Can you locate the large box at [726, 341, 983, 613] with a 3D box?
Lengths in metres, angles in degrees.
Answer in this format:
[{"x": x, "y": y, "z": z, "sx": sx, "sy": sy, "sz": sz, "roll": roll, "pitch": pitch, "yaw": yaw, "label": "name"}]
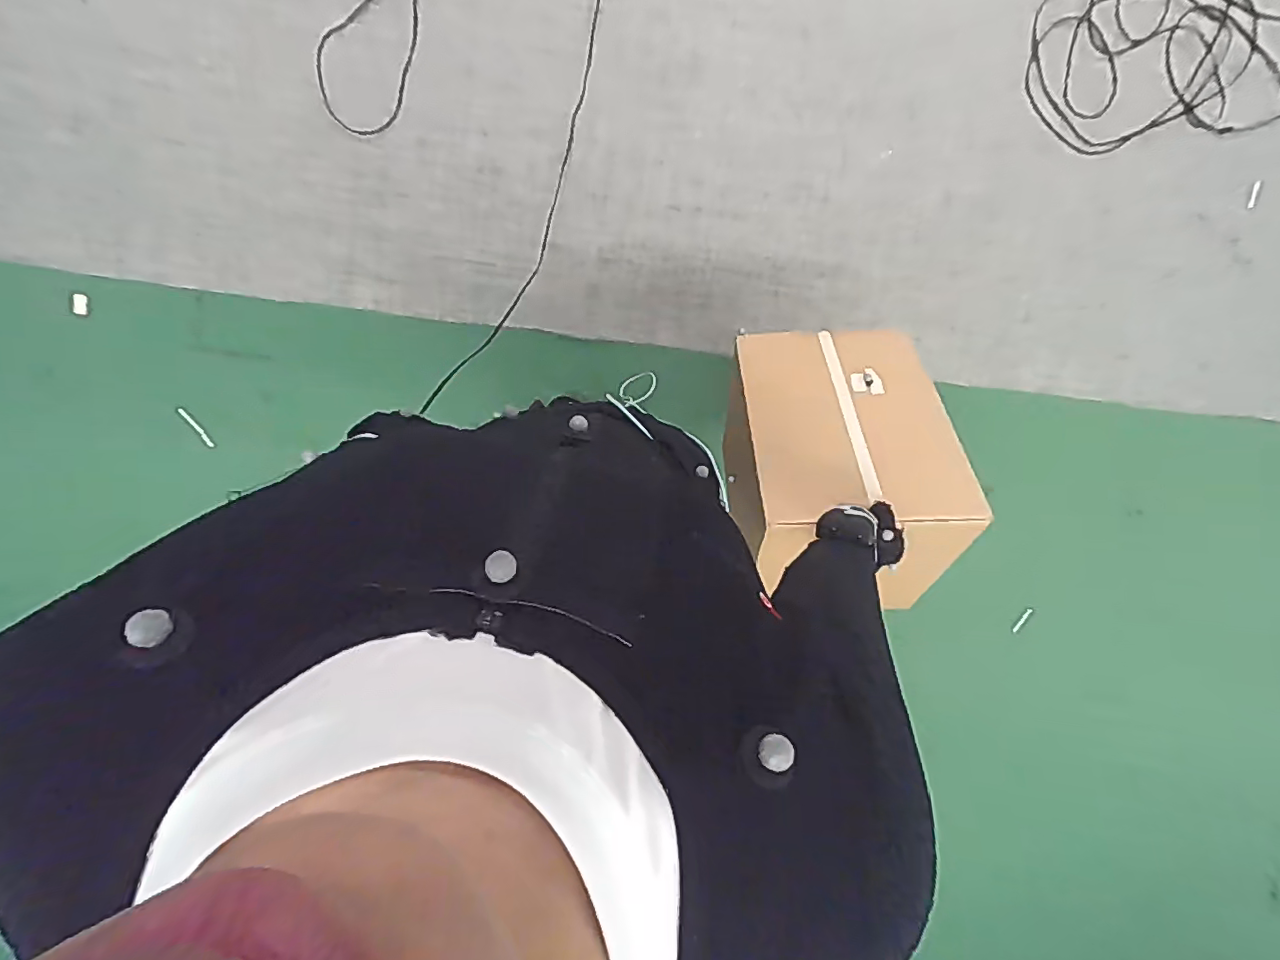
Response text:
[{"x": 0.341, "y": -0.002, "z": 1.001, "sx": 0.320, "sy": 0.408, "sz": 0.320, "roll": -1, "pitch": 143, "yaw": 2, "label": "large box"}]
